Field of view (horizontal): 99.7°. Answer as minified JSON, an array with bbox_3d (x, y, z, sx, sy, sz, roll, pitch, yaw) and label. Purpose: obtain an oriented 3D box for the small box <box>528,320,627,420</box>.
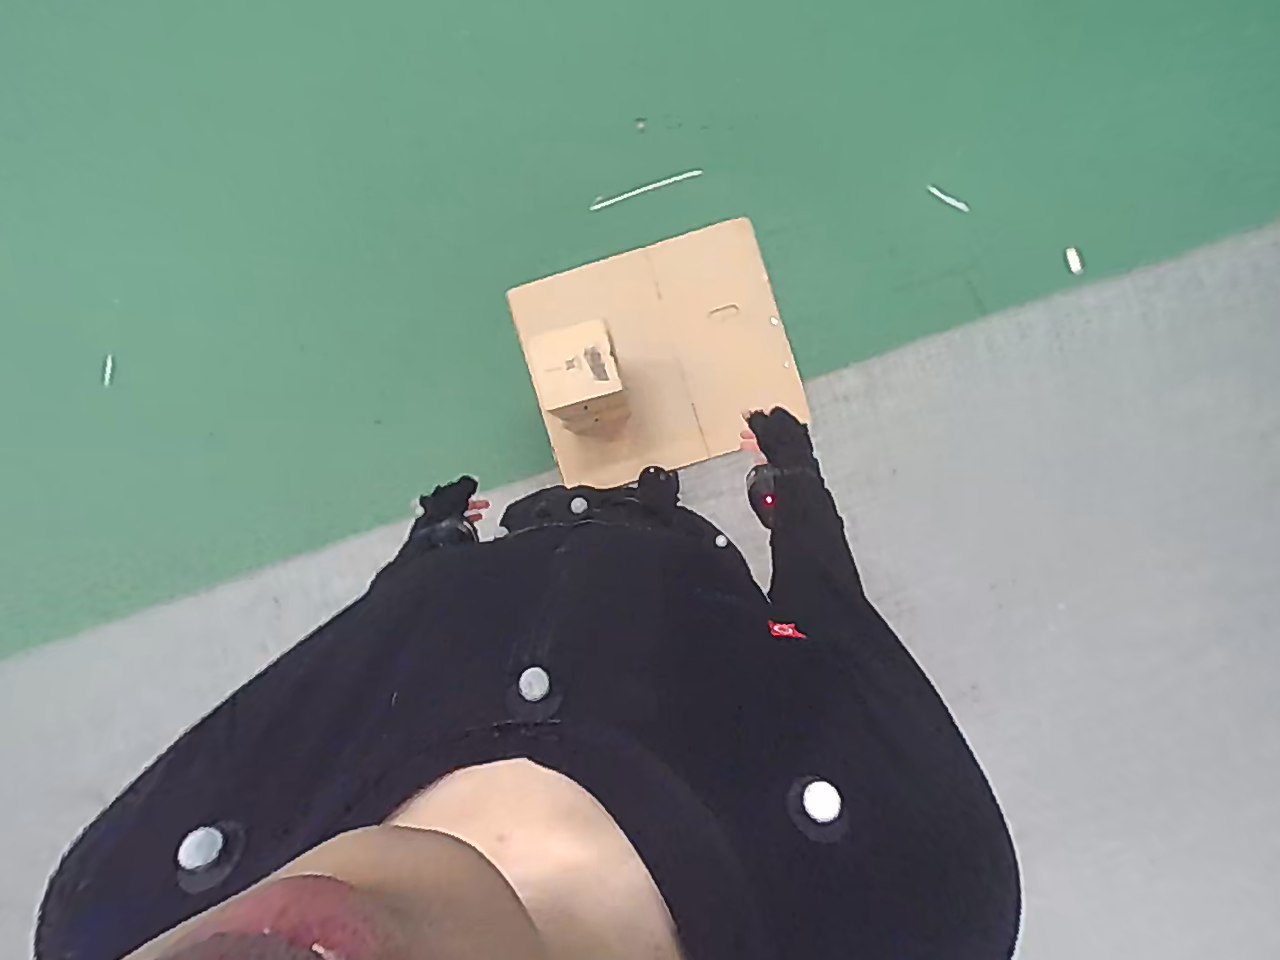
[{"bbox_3d":[-0.132,-0.242,1.228,0.179,0.176,0.168,-15,88,4],"label":"small box"}]
